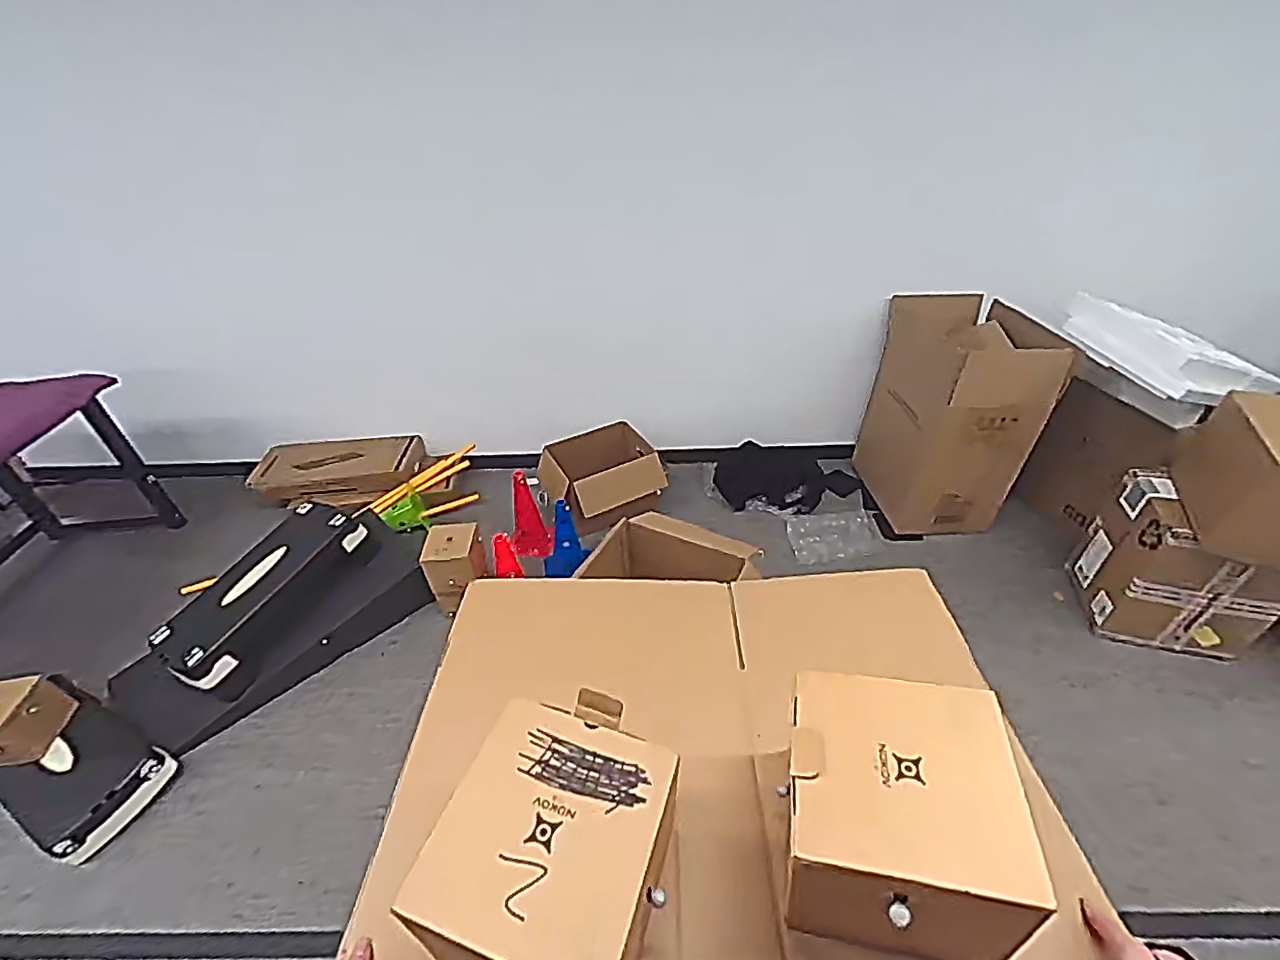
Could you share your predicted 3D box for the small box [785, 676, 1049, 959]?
[{"bbox_3d":[0.230,0.312,0.503,0.179,0.176,0.168,2,38,15],"label":"small box"}]
